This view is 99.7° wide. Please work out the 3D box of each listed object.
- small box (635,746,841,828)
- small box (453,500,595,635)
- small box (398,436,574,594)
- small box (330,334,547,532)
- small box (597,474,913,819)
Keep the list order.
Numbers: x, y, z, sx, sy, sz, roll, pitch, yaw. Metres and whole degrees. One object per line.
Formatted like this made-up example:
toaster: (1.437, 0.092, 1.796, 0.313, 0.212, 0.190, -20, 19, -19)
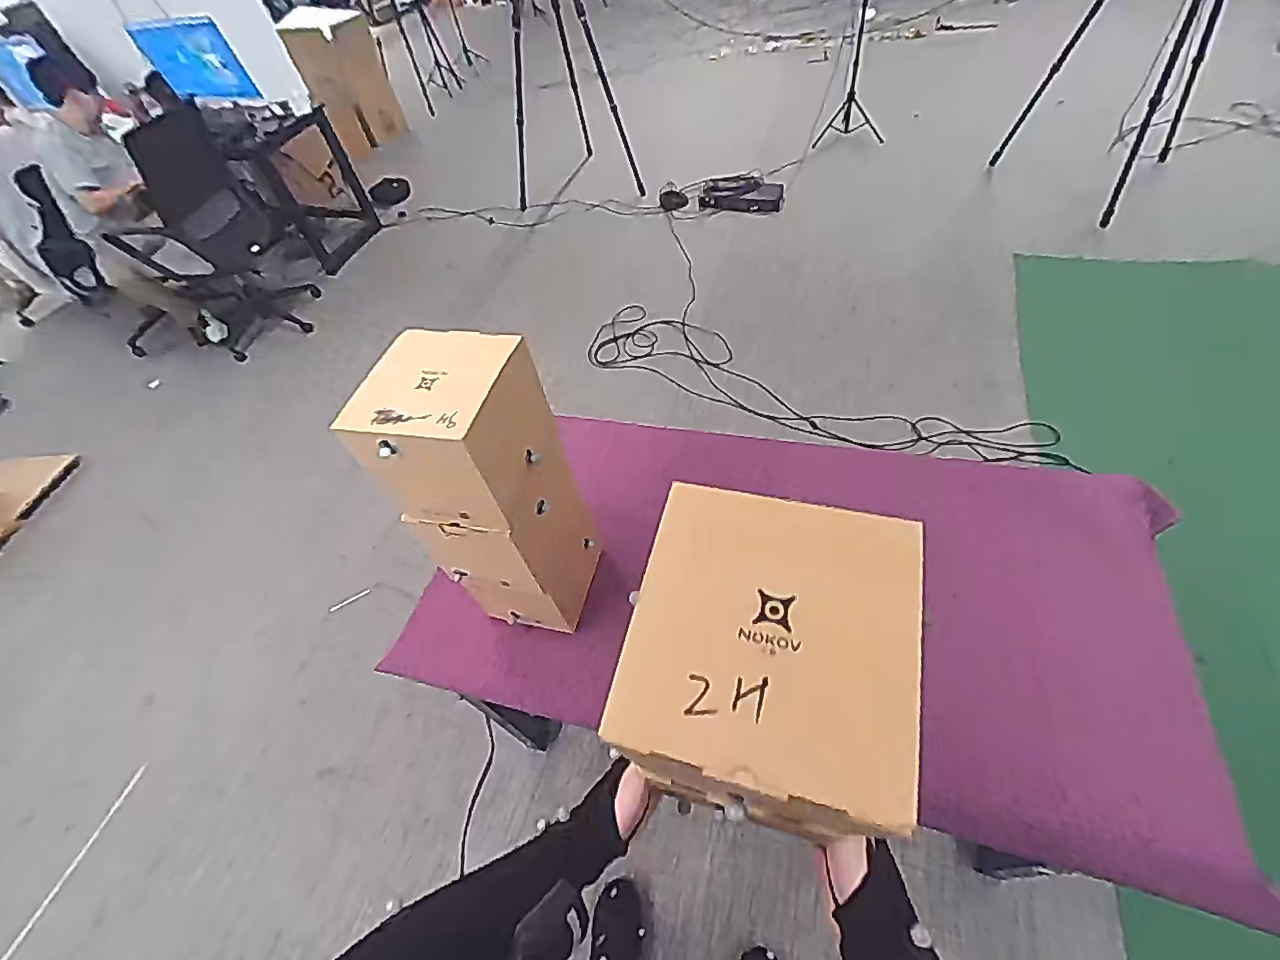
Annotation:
small box: (0.105, 0.216, 0.527, 0.168, 0.176, 0.179, 9, 59, 15)
small box: (-0.186, 0.142, 0.930, 0.168, 0.176, 0.179, 6, 54, 15)
small box: (-0.210, 0.048, 0.799, 0.168, 0.176, 0.179, 6, 52, 15)
small box: (-0.230, -0.060, 0.676, 0.168, 0.176, 0.179, 6, 52, 15)
small box: (0.085, 0.123, 0.393, 0.168, 0.176, 0.179, 9, 59, 16)
